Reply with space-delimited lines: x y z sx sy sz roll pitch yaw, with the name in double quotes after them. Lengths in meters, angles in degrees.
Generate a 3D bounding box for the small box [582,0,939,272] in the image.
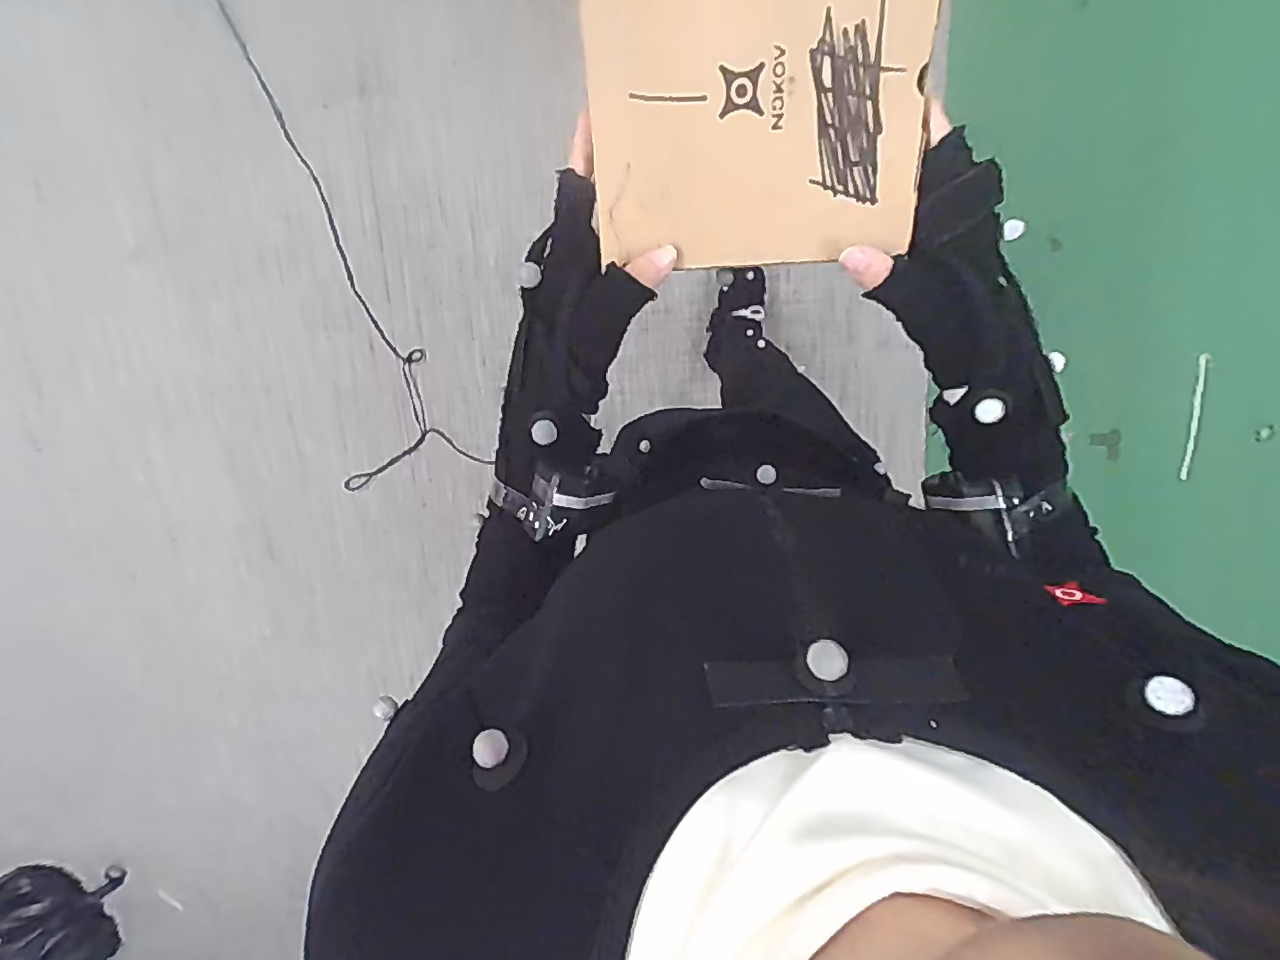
0.062 -0.235 0.350 0.179 0.176 0.168 -5 115 3 "small box"
